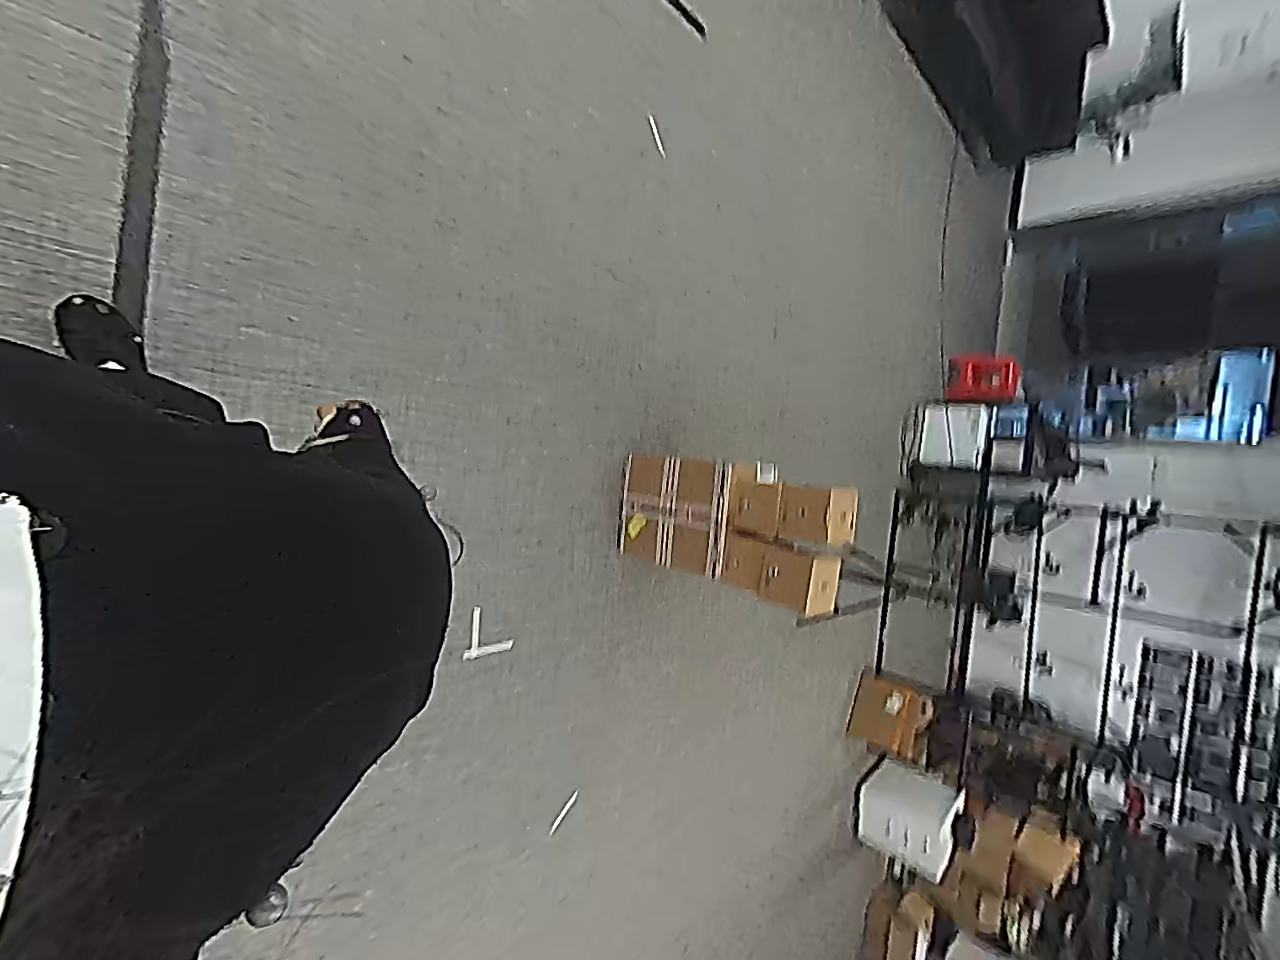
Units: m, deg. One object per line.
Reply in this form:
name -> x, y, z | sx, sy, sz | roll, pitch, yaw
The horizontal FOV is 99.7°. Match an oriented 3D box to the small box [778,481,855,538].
small box -> 0.552, 0.092, 1.698 | 0.179, 0.176, 0.168 | 5, 91, -42

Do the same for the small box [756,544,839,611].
small box -> 0.483, 0.294, 1.662 | 0.179, 0.176, 0.168 | 7, 92, -42

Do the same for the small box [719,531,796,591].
small box -> 0.390, 0.264, 1.795 | 0.179, 0.176, 0.168 | 4, 93, -43

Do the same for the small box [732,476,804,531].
small box -> 0.432, 0.075, 1.810 | 0.179, 0.176, 0.168 | 1, 93, -42
